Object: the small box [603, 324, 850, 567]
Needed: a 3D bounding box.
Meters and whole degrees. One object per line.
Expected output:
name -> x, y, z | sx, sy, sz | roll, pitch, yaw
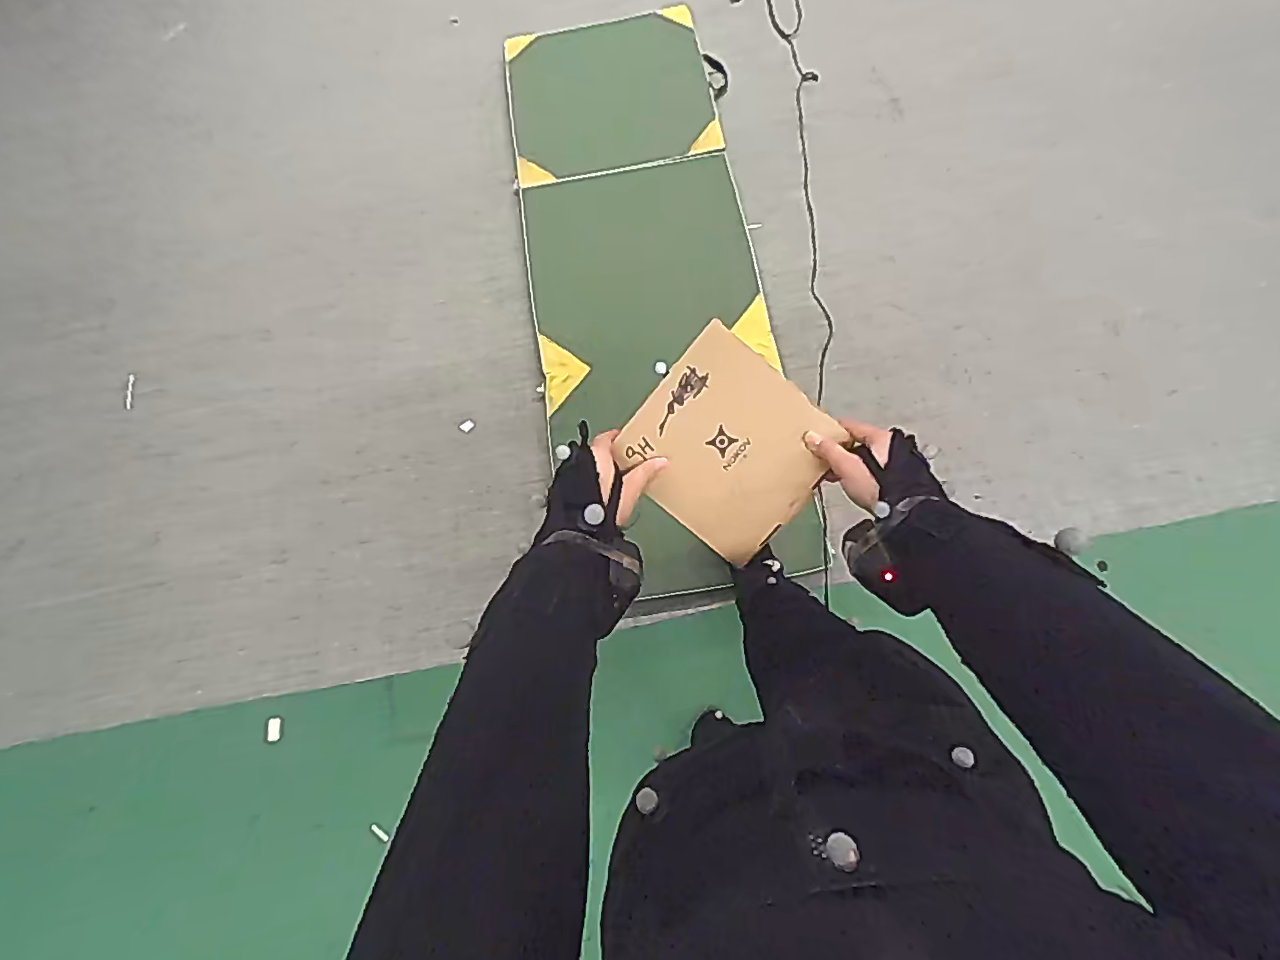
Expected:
small box -> 0.082, -0.041, 0.585 | 0.179, 0.176, 0.168 | 40, 96, -5
